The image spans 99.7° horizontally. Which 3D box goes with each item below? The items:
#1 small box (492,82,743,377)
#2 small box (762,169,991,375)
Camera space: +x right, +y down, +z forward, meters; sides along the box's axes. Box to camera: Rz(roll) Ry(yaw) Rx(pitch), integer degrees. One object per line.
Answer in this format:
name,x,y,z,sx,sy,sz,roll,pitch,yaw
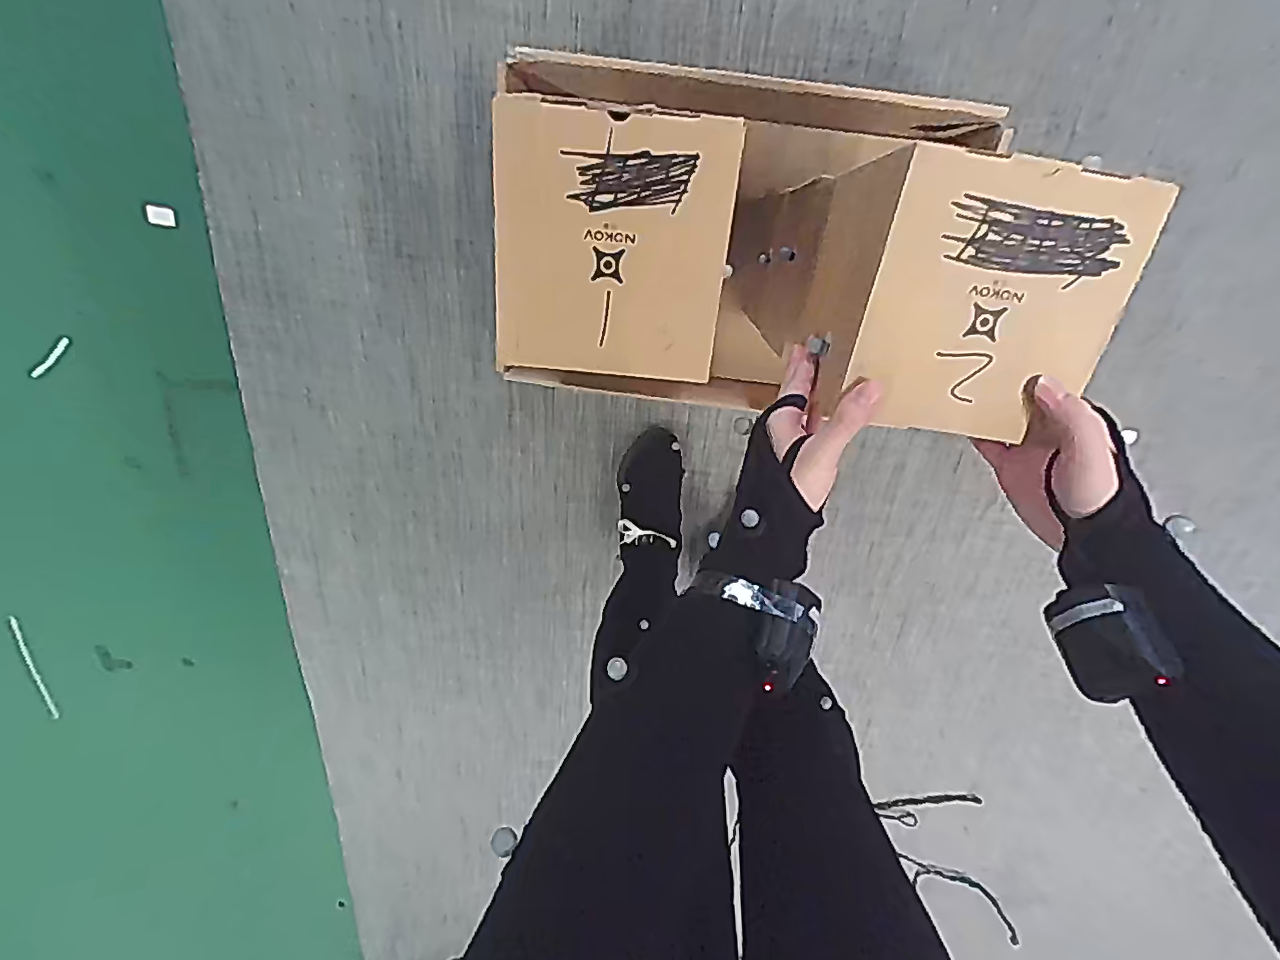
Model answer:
small box,-0.021,-0.198,0.452,0.168,0.176,0.179,6,114,-1
small box,0.241,-0.230,0.608,0.168,0.176,0.179,7,113,1
